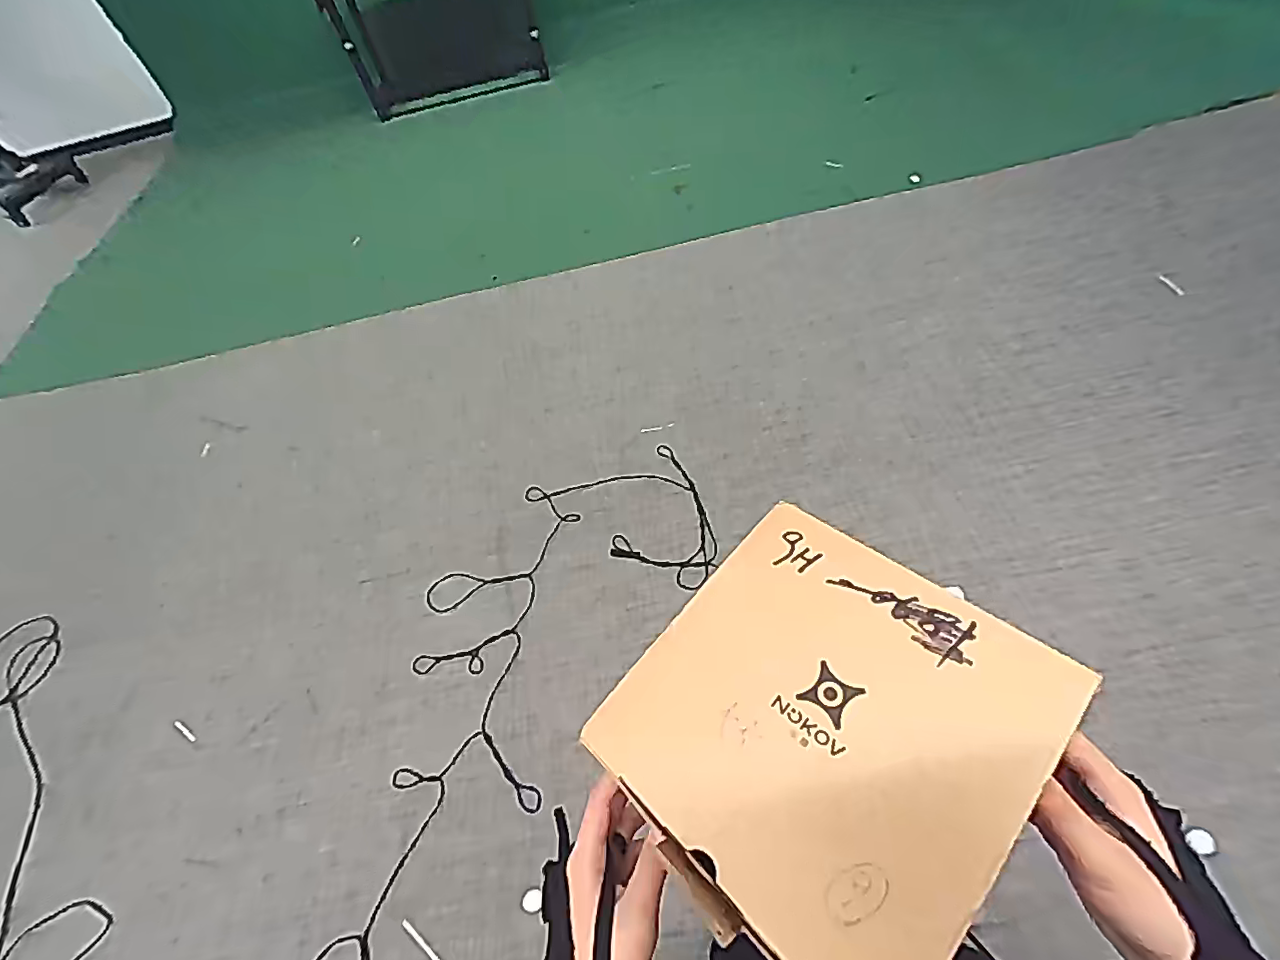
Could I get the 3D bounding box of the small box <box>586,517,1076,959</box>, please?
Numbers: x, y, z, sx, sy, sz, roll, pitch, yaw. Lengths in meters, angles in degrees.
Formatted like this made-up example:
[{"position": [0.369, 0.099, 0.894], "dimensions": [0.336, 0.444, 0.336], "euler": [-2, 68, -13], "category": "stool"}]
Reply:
[{"position": [0.104, 0.162, 0.322], "dimensions": [0.168, 0.176, 0.179], "euler": [33, 69, 34], "category": "small box"}]
